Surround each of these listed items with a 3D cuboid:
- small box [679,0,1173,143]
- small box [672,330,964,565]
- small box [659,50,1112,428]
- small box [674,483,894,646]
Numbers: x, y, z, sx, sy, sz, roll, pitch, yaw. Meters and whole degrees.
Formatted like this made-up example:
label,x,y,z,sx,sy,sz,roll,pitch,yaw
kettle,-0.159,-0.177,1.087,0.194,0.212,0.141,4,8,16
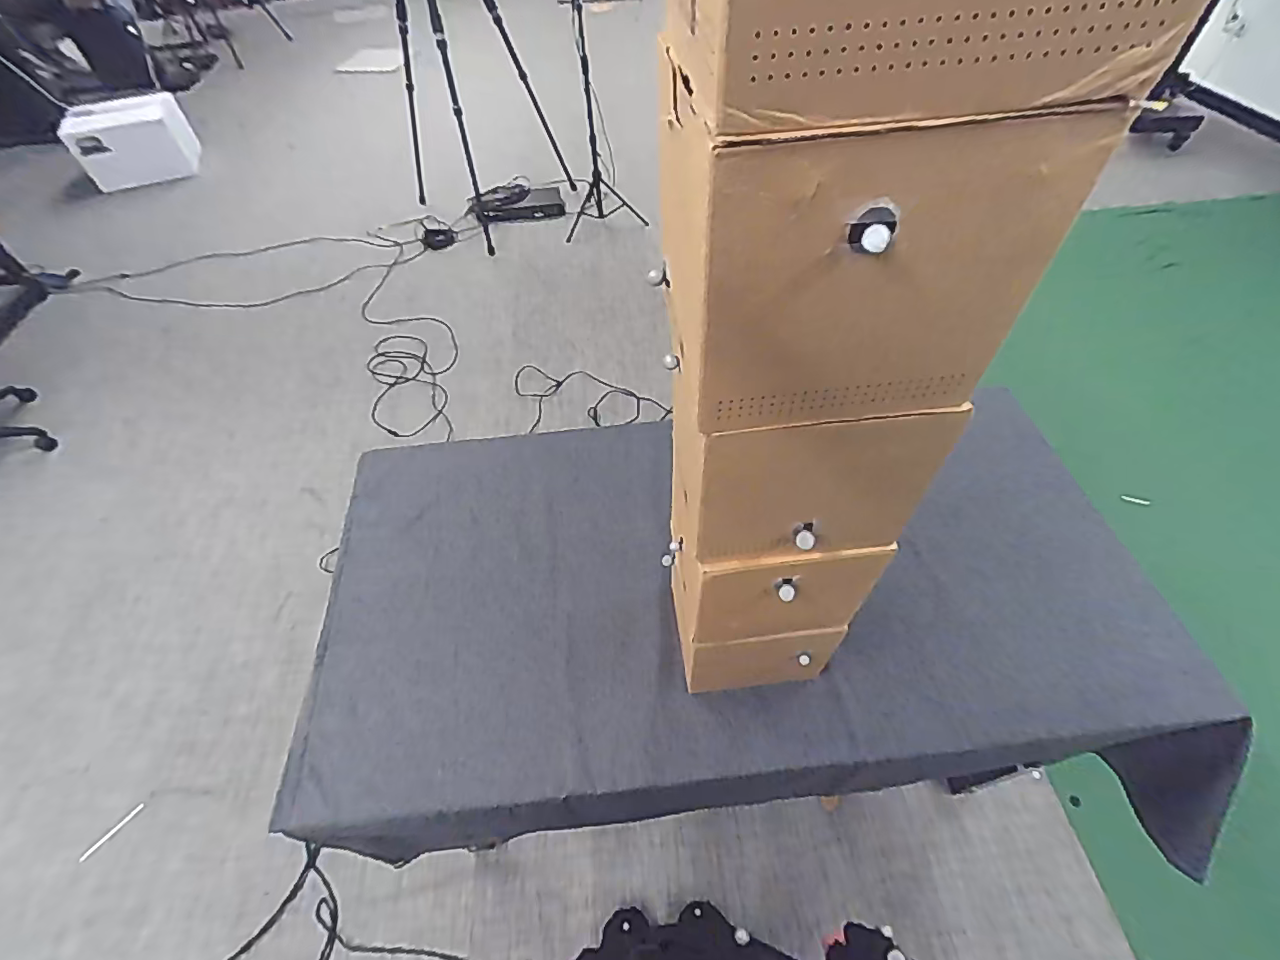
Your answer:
label,x,y,z,sx,sy,sz,roll,pitch,yaw
small box,0.105,-0.250,0.206,0.179,0.176,0.168,-5,52,0
small box,0.123,-0.043,0.460,0.179,0.176,0.168,-5,51,-1
small box,0.109,-0.148,0.334,0.179,0.176,0.168,-6,52,-2
small box,0.134,0.063,0.584,0.179,0.176,0.168,-7,51,-2
